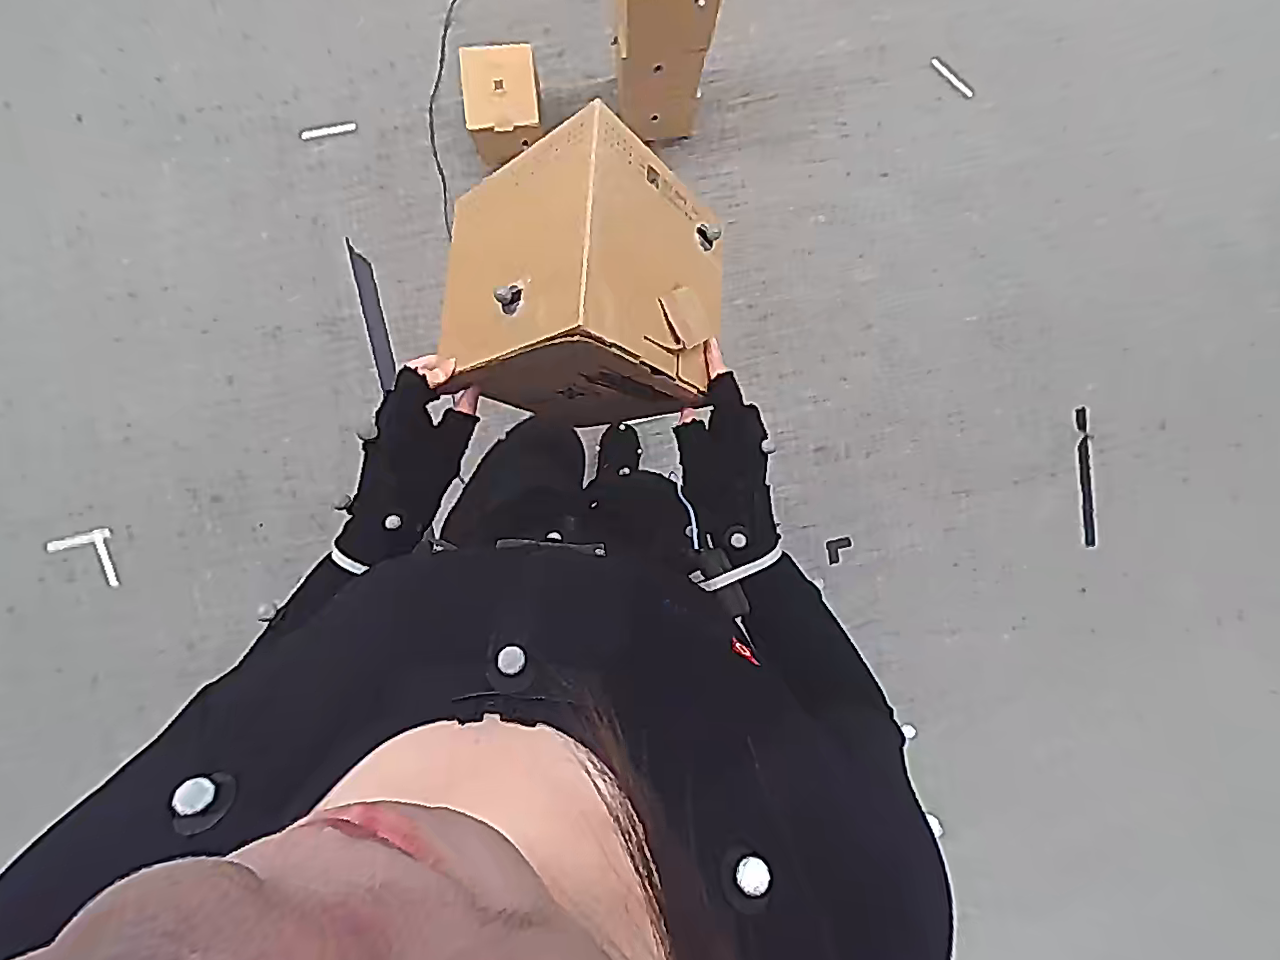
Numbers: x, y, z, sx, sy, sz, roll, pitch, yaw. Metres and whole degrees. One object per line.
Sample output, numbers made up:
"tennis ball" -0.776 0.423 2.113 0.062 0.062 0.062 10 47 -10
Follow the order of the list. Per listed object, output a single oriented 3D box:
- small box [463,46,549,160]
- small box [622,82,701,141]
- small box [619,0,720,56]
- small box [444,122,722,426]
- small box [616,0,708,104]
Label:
"small box" -0.314 -0.893 1.300 0.168 0.176 0.179 -5 96 -2
"small box" 0.044 -0.949 1.305 0.179 0.176 0.168 -8 97 -1
"small box" 0.049 -0.911 0.979 0.179 0.176 0.168 -8 96 -2
"small box" -0.045 -0.155 0.466 0.179 0.168 0.176 -5 77 41
"small box" 0.041 -0.927 1.141 0.179 0.176 0.168 -6 97 -2
